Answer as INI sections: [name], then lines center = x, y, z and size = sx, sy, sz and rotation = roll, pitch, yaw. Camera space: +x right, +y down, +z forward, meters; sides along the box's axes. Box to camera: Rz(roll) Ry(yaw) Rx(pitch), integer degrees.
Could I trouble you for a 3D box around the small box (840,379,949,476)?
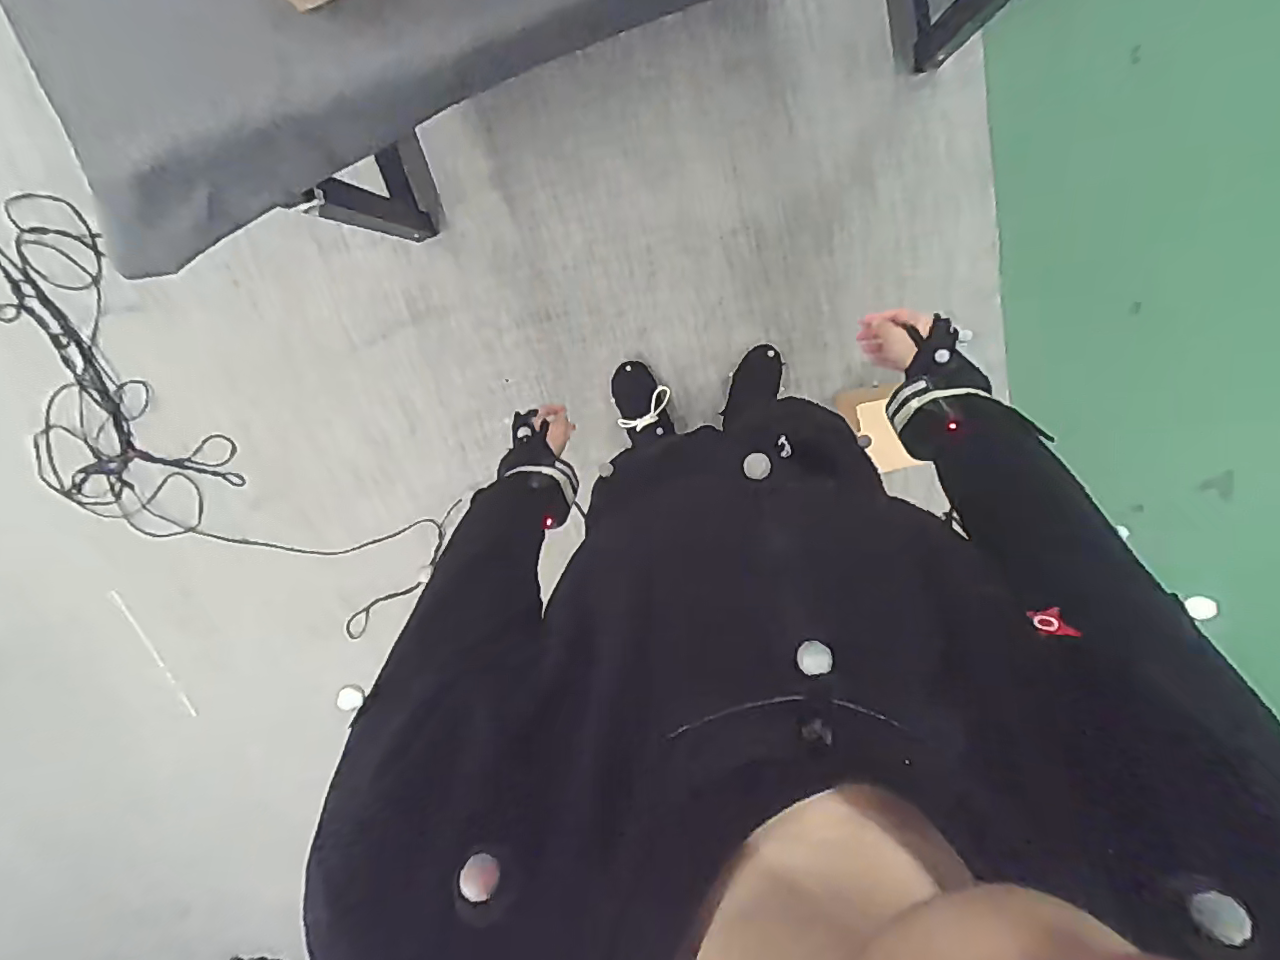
[small box]
center = 0.568, -0.124, 1.230
size = 0.179, 0.176, 0.168
rotation = -14, 106, 9
